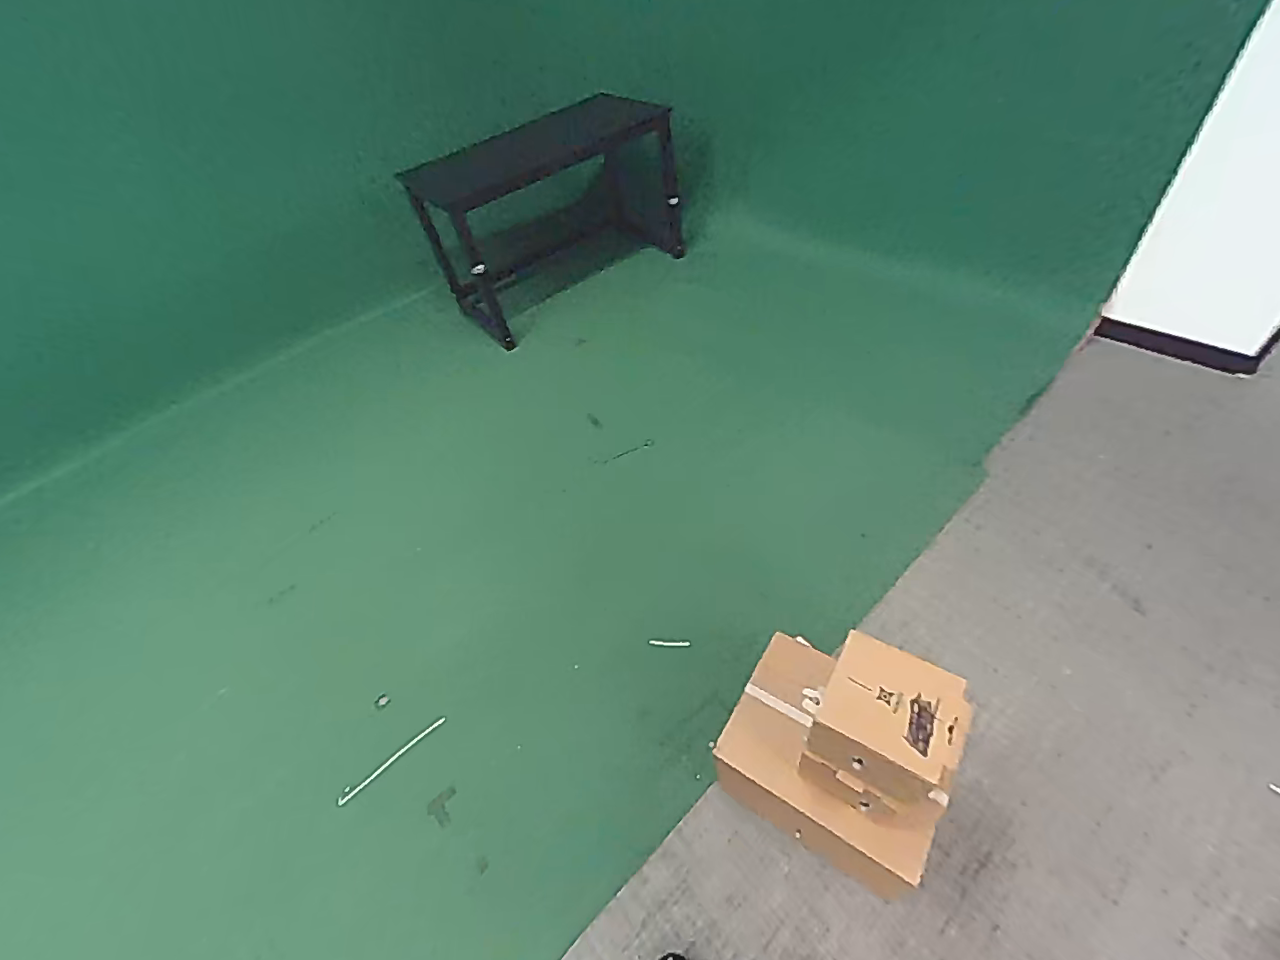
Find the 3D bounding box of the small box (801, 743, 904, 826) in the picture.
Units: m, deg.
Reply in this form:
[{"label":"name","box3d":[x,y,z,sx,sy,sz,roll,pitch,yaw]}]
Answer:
[{"label":"small box","box3d":[0.403,0.487,0.978,0.168,0.176,0.179,23,57,28]}]

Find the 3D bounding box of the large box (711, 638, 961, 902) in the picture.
[{"label":"large box","box3d":[0.415,0.625,1.184,0.408,0.320,0.320,21,55,29]}]

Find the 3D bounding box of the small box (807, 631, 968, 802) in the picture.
[{"label":"small box","box3d":[0.382,0.379,0.857,0.179,0.176,0.168,22,57,28]}]
